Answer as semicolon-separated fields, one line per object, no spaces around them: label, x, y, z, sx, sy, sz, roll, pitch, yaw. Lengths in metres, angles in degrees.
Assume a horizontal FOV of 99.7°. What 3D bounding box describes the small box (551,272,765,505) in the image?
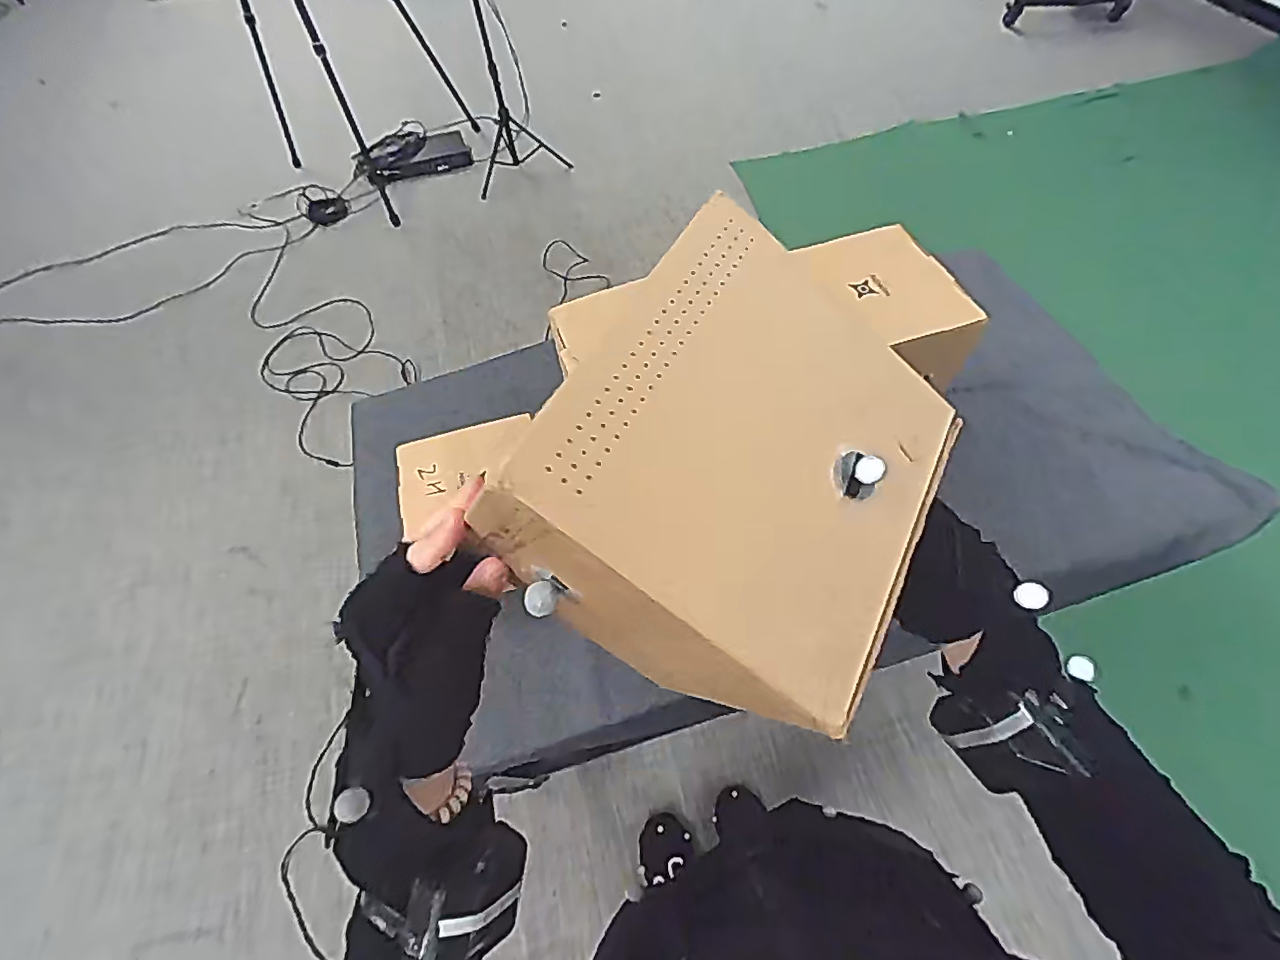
small box;0.019;-0.095;0.612;0.179;0.176;0.168;-20;61;-7
